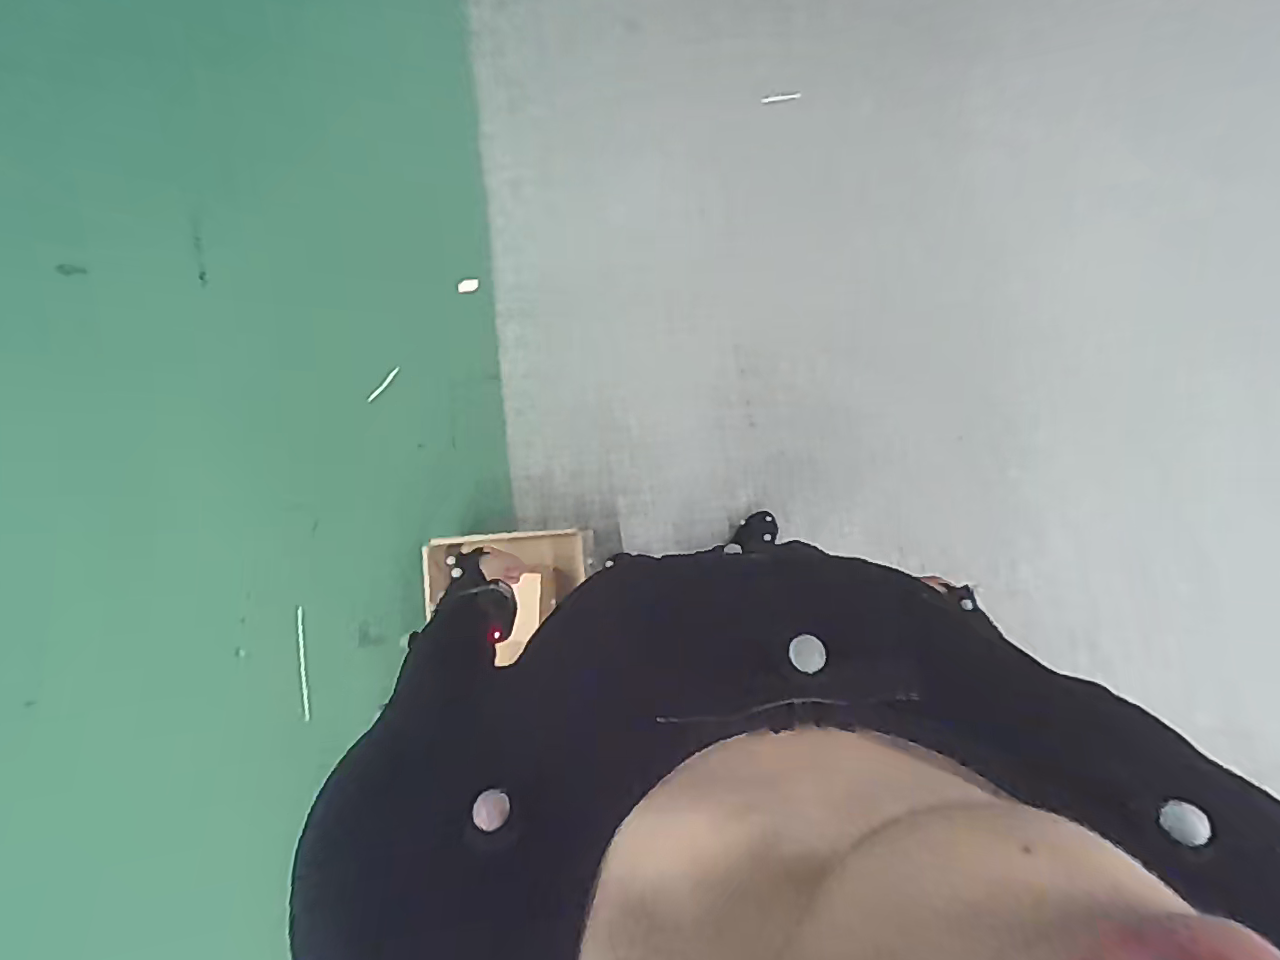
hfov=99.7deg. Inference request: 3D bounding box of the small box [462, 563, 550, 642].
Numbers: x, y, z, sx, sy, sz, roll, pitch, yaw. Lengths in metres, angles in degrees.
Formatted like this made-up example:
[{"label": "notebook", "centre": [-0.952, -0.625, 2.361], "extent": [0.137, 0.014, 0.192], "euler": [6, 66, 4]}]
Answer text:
[{"label": "small box", "centre": [-0.332, 0.303, 1.359], "extent": [0.179, 0.176, 0.168], "euler": [2, 88, 0]}]
